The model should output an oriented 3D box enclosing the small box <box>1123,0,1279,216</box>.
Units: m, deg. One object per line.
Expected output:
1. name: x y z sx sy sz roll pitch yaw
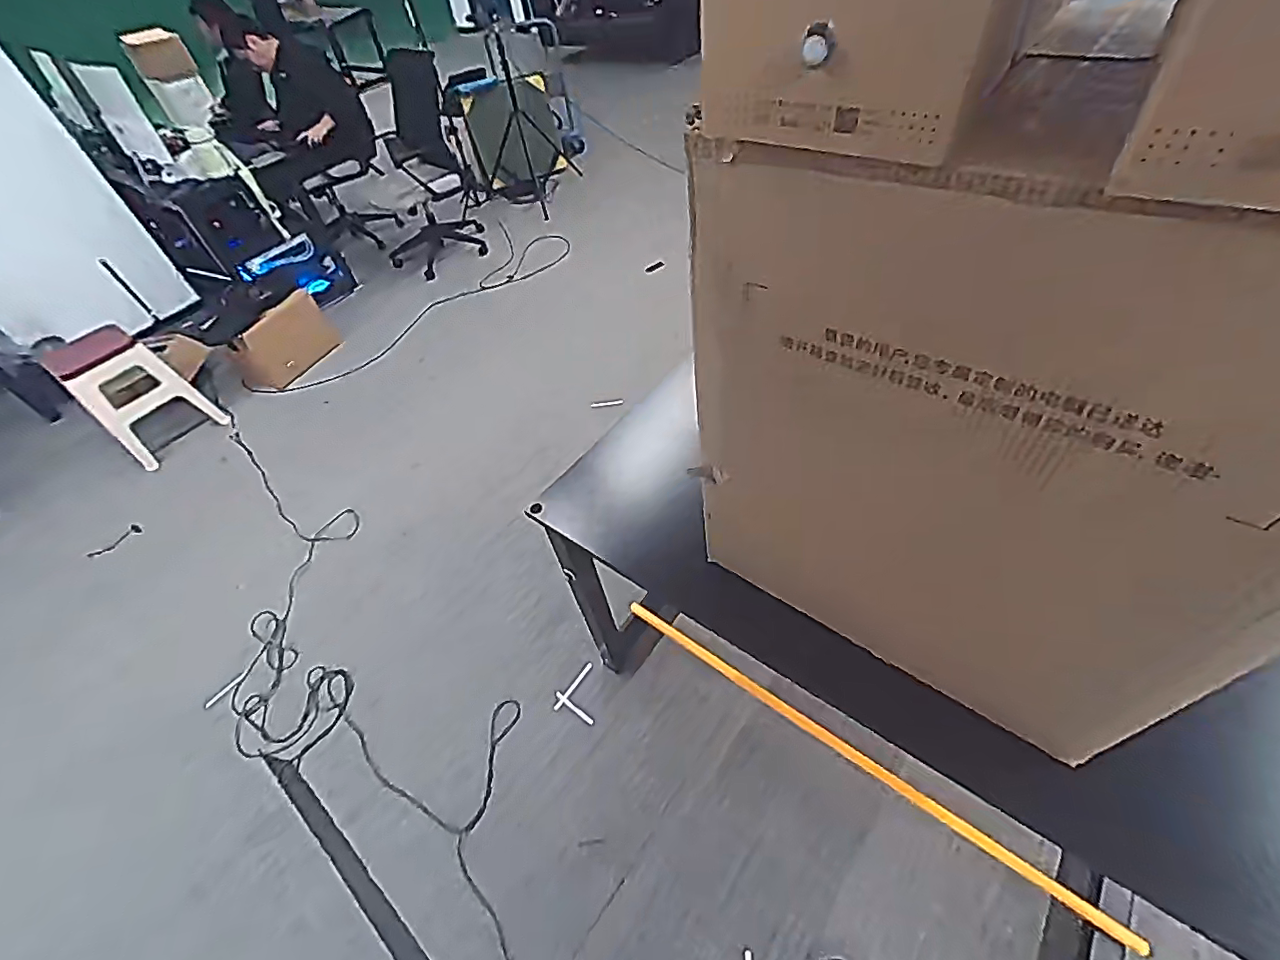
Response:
1. small box: 0.341 -0.225 0.219 0.168 0.176 0.179 22 58 28
